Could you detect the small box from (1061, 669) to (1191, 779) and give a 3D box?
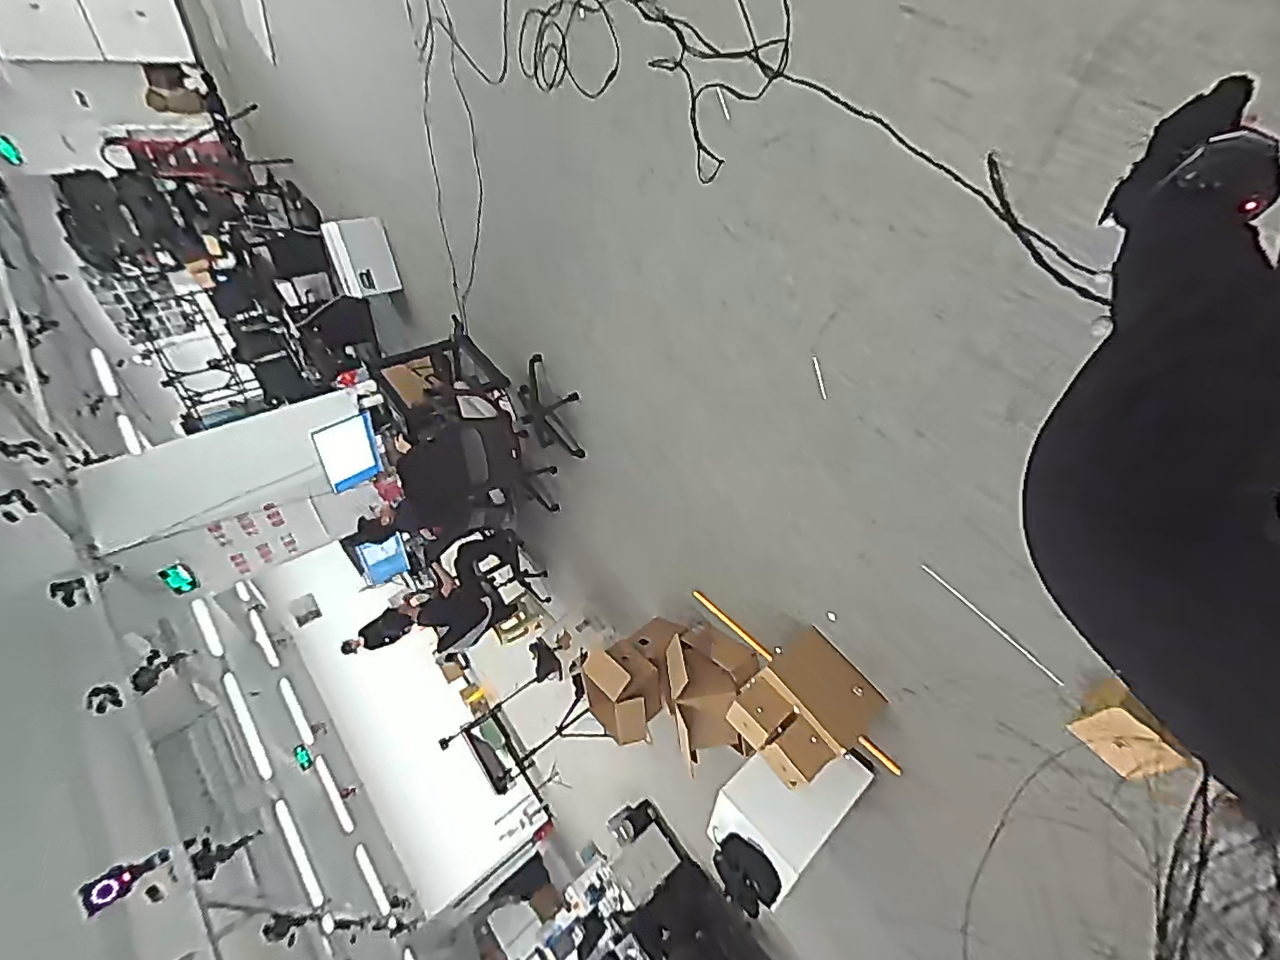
[{"bbox_3d":[1.248,0.623,1.387,0.168,0.176,0.179,45,145,24],"label":"small box"}]
